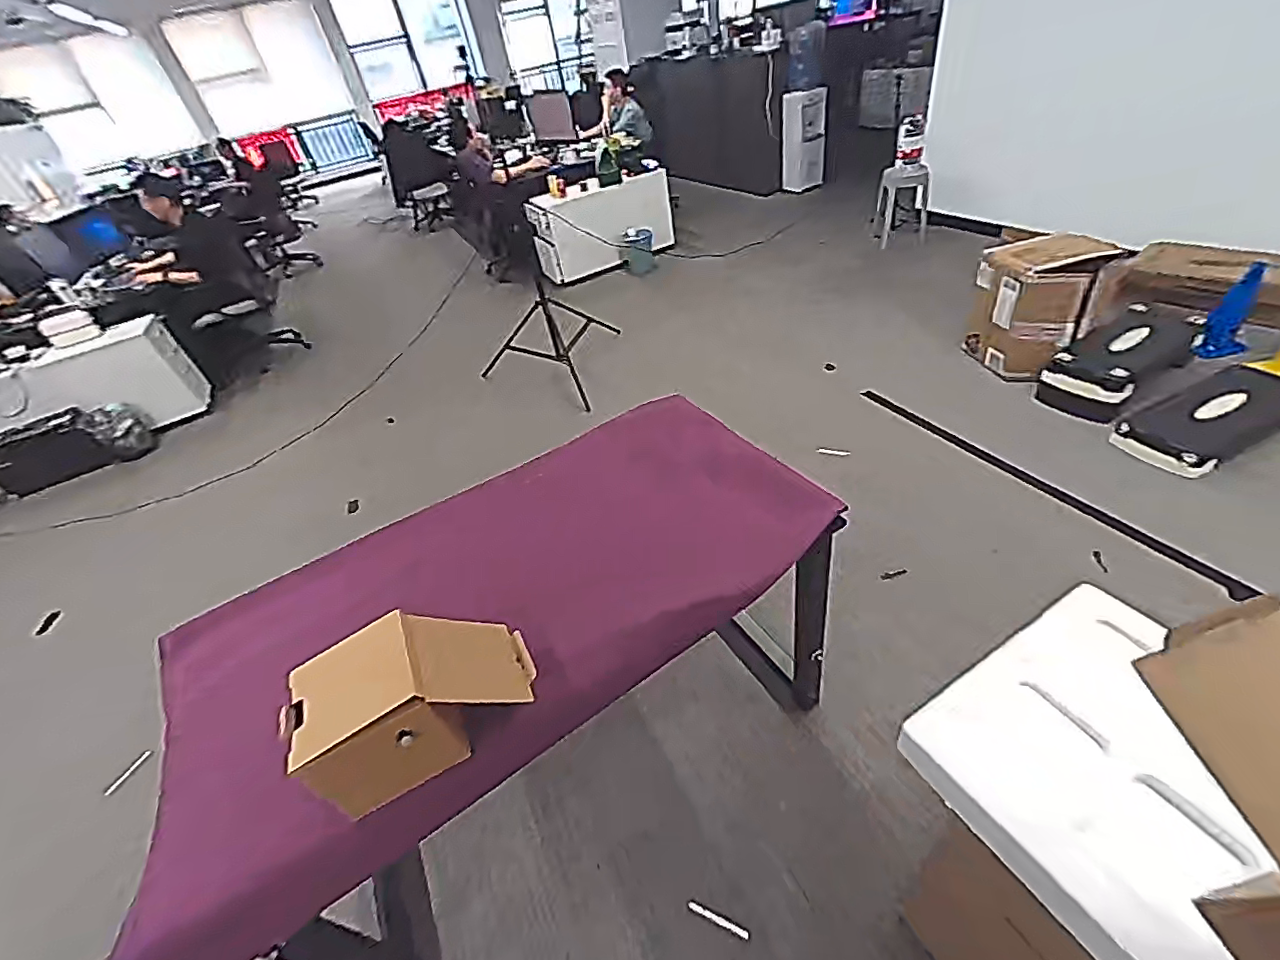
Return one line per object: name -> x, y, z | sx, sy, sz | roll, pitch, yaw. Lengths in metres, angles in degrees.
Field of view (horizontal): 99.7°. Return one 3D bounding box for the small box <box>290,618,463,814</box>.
small box -> -0.378, 0.345, 0.796 | 0.179, 0.176, 0.168 | -25, 41, -14
